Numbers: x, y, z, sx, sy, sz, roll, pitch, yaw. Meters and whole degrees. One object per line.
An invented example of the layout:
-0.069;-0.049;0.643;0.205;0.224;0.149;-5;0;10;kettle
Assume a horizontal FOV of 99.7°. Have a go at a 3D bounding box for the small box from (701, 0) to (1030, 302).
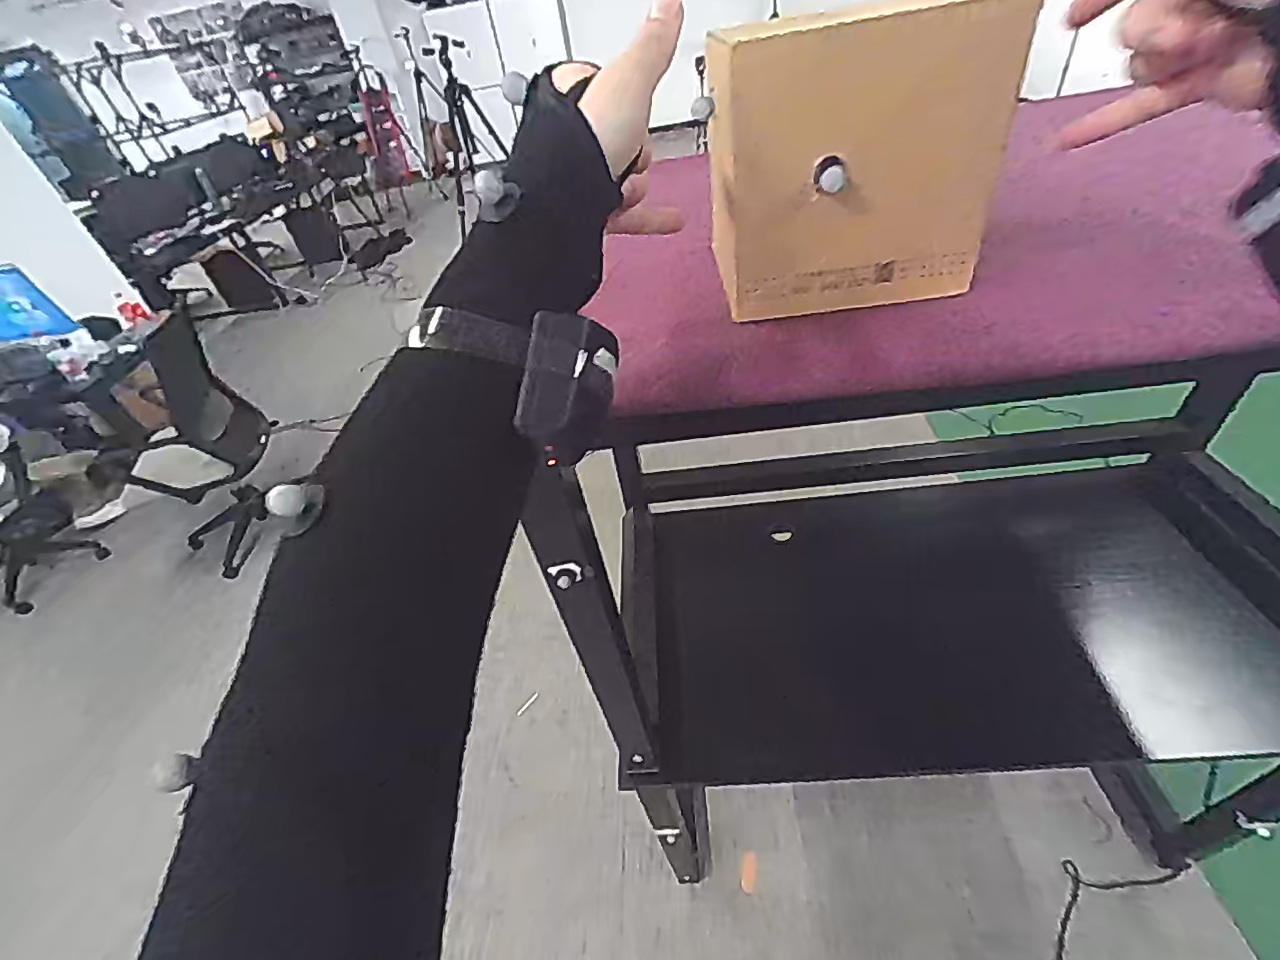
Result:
0.139;-0.241;0.395;0.168;0.176;0.179;-6;40;6;small box
